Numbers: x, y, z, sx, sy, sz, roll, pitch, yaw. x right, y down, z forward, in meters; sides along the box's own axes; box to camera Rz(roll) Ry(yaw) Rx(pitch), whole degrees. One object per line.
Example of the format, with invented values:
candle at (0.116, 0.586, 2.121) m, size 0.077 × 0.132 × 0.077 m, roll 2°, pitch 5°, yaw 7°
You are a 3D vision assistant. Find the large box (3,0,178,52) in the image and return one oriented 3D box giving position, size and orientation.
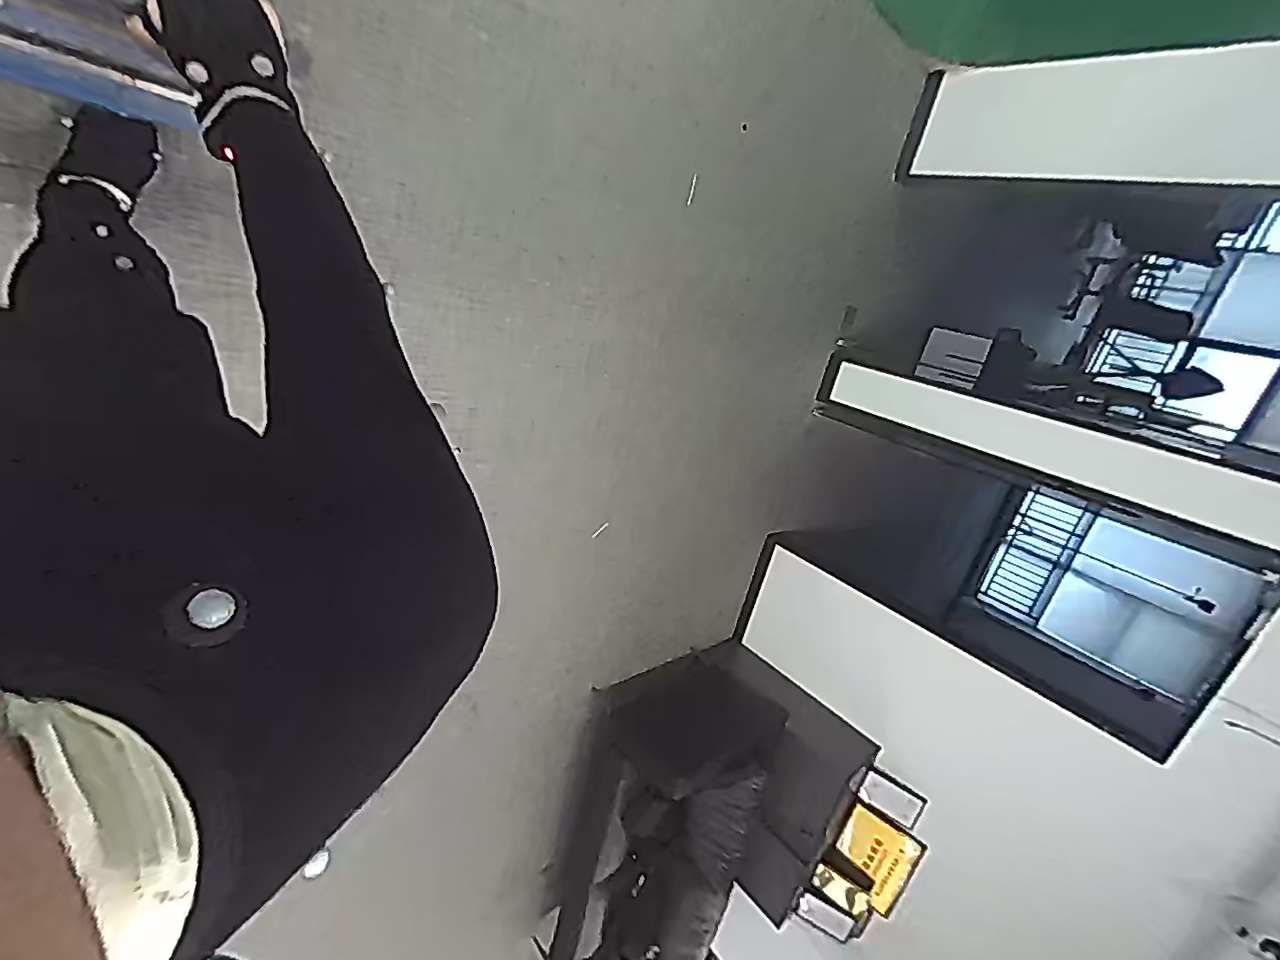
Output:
large box at (-0.790, -0.839, 0.657) m, size 0.320 × 0.320 × 0.408 m, roll -5°, pitch 116°, yaw -43°
